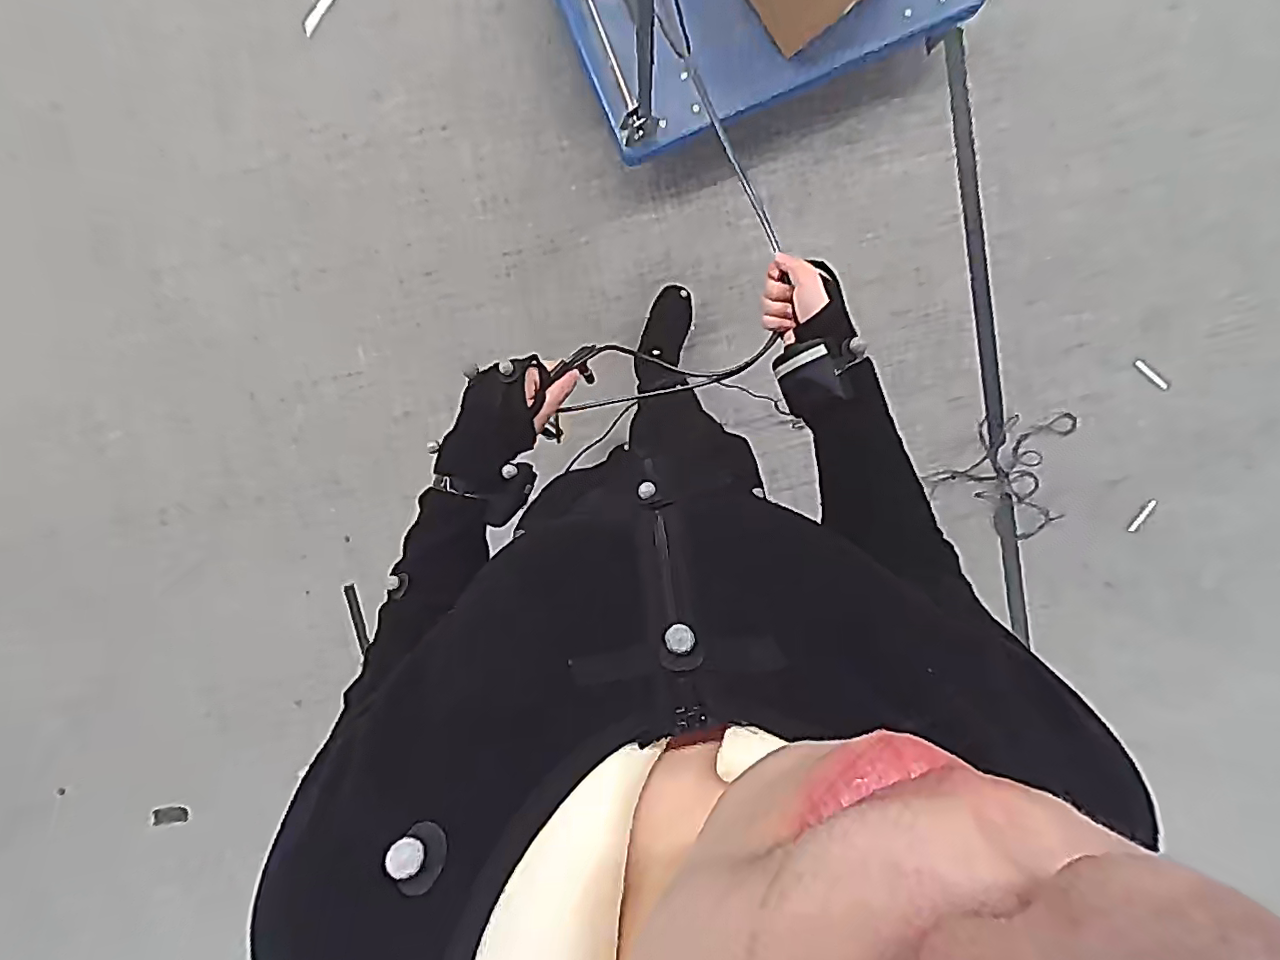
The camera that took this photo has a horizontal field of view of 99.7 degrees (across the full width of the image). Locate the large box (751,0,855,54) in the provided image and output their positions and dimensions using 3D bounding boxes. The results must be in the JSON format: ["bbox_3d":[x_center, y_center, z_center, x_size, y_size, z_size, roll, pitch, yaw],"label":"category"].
[{"bbox_3d":[0.319,-1.137,0.986,0.320,0.320,0.408,-38,99,5],"label":"large box"}]
